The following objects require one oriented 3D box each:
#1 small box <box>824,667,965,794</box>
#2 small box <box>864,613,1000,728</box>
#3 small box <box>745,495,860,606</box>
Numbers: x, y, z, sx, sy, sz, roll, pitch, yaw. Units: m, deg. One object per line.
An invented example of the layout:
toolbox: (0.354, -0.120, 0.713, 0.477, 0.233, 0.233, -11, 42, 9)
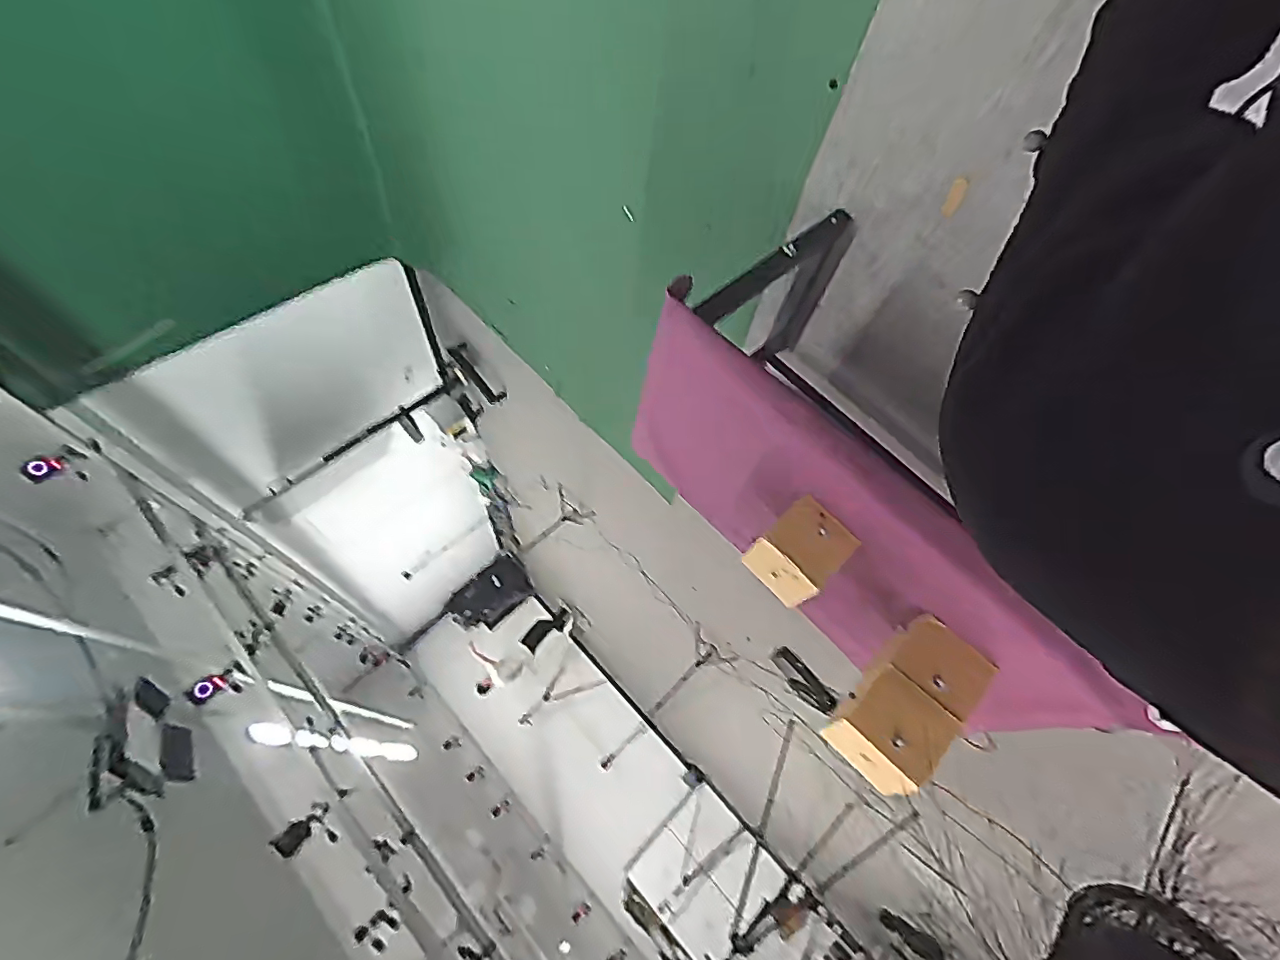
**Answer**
small box: (0.527, 0.515, 1.130, 0.179, 0.176, 0.168, 41, 153, 21)
small box: (0.645, 0.427, 1.197, 0.179, 0.176, 0.168, 43, 155, 19)
small box: (0.385, 0.167, 1.282, 0.168, 0.176, 0.179, 44, 156, 13)
